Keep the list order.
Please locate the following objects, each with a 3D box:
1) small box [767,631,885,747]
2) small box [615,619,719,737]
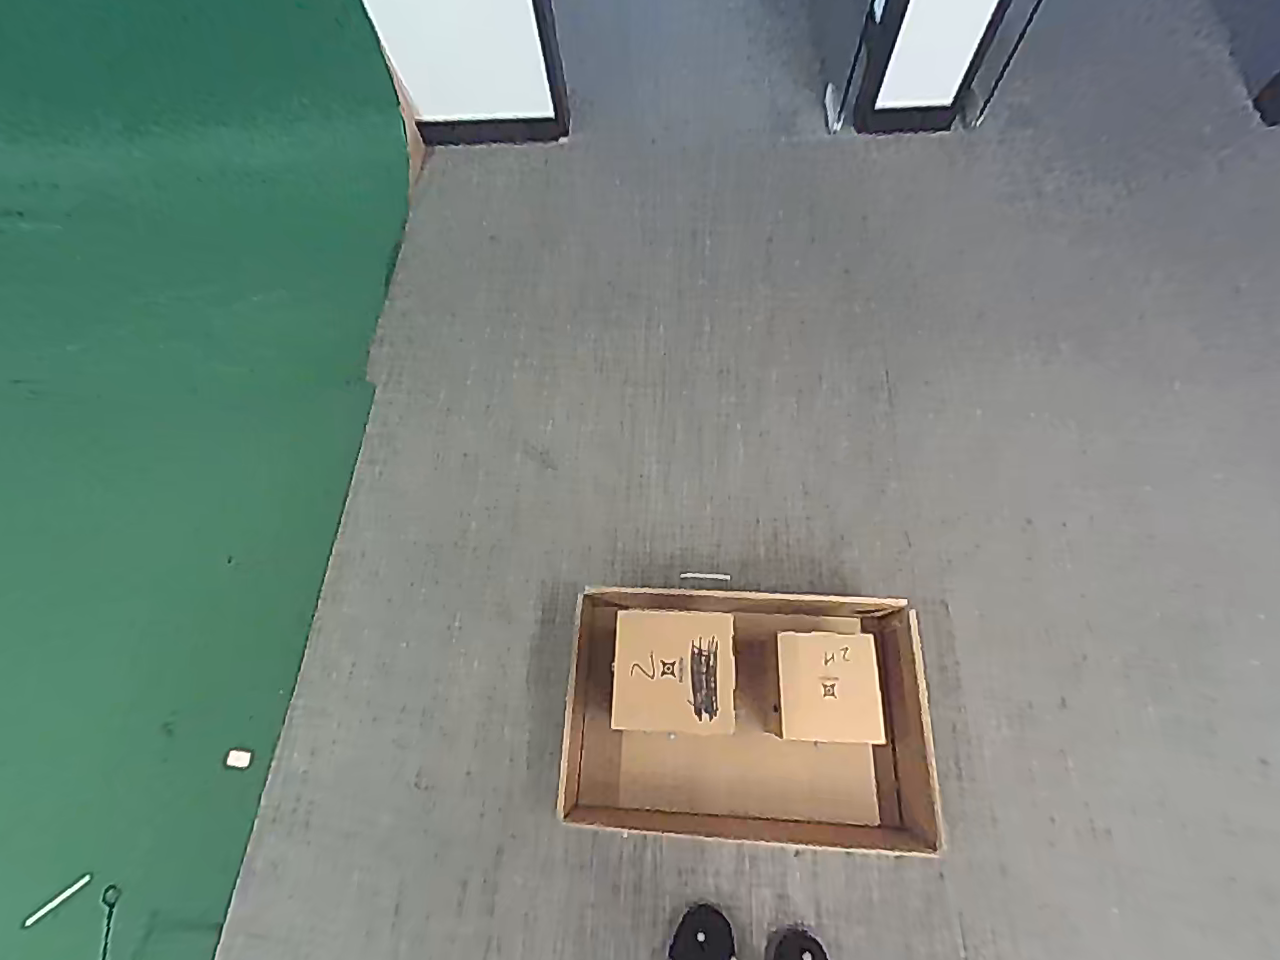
[{"bbox_3d":[0.326,0.375,0.980,0.168,0.176,0.179,1,69,4],"label":"small box"},{"bbox_3d":[0.053,0.366,1.004,0.168,0.176,0.179,5,68,5],"label":"small box"}]
